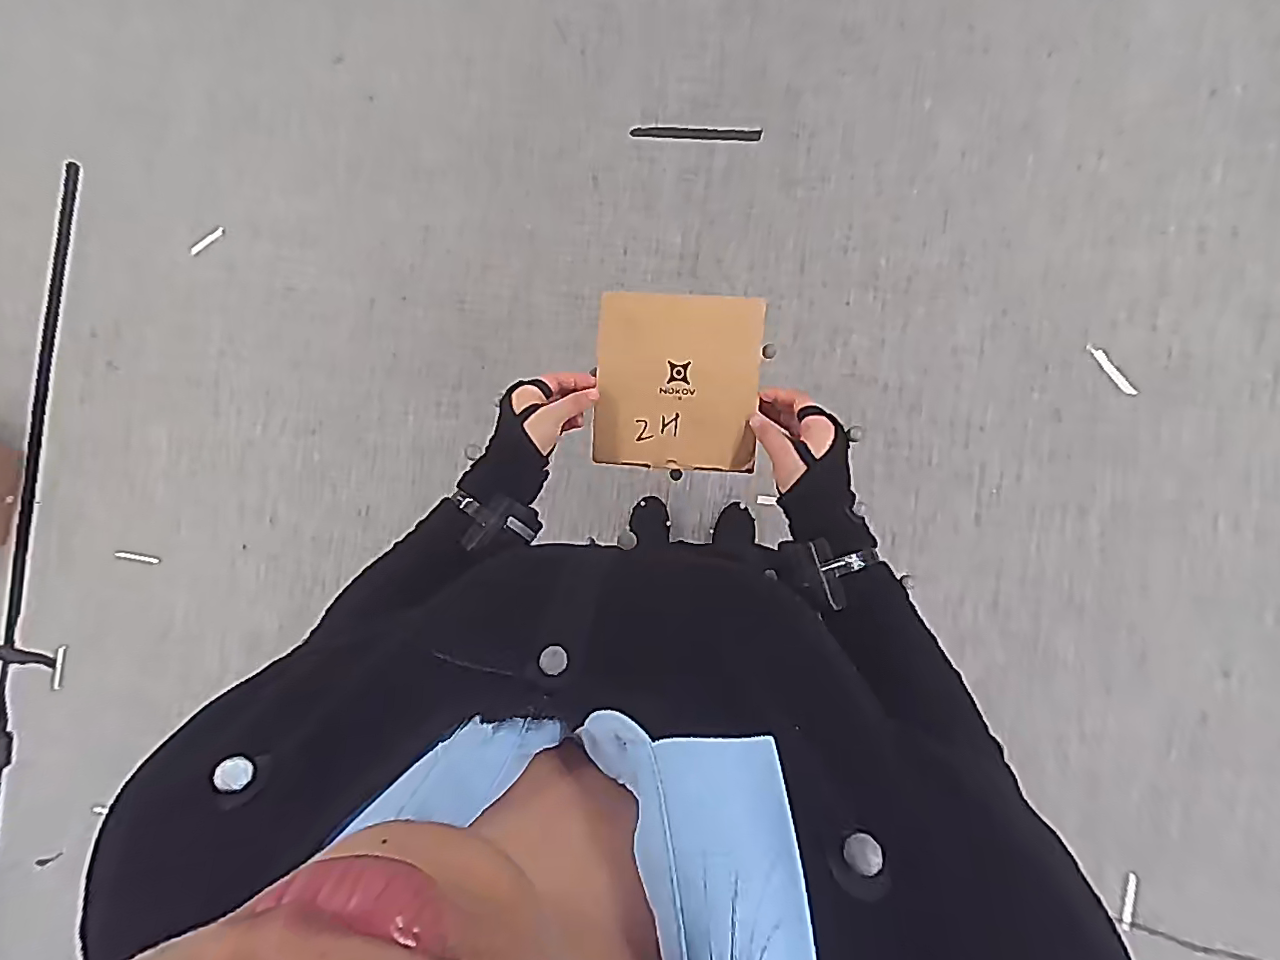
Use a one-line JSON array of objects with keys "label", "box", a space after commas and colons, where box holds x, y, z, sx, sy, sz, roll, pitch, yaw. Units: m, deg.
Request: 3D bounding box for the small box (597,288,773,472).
[{"label": "small box", "box": [0.051, -0.103, 0.613, 0.168, 0.176, 0.179, 4, 93, 7]}]
